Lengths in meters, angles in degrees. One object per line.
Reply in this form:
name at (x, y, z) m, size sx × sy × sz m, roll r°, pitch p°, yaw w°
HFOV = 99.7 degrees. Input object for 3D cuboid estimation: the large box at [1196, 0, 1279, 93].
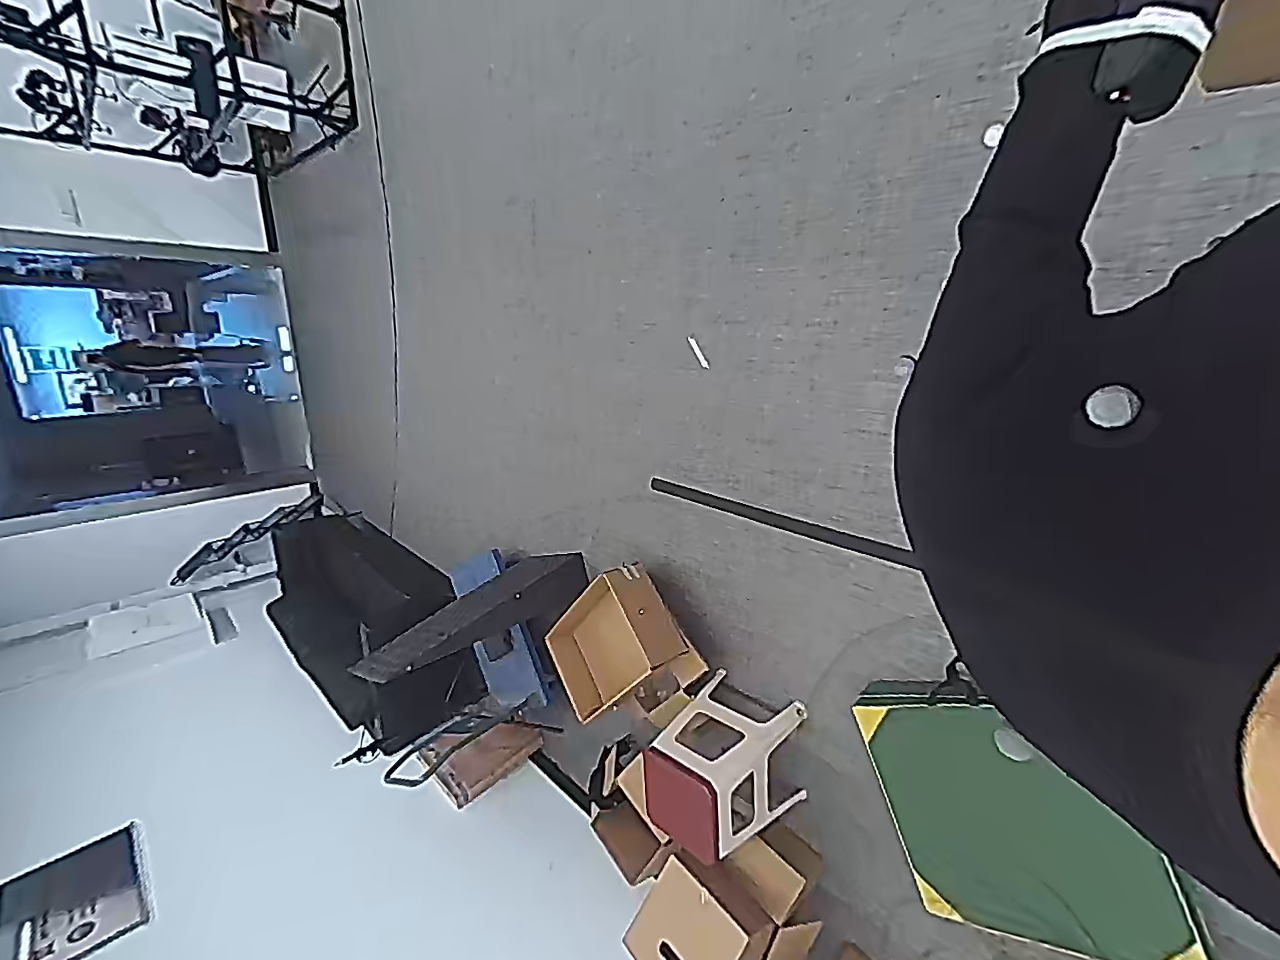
large box at (0.604, -0.450, 0.267) m, size 0.408 × 0.320 × 0.320 m, roll 21°, pitch 119°, yaw 43°
